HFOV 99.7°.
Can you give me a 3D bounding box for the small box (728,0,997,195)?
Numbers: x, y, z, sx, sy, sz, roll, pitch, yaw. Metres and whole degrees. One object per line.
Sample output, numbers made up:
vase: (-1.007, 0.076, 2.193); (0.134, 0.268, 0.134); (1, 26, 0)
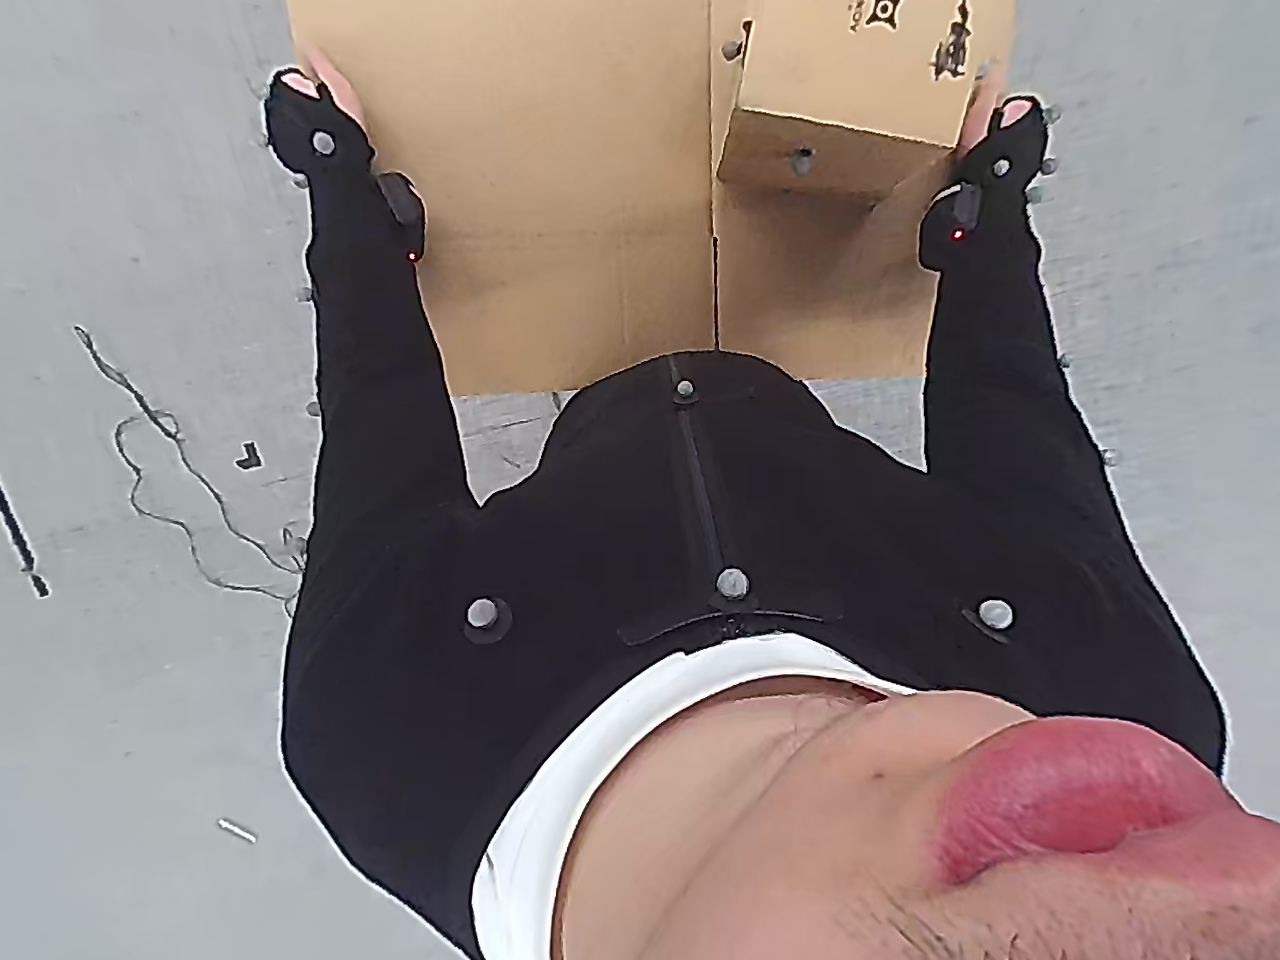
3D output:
small box: (0.183, -0.374, 0.482); (0.179, 0.176, 0.168); (11, 104, 1)
